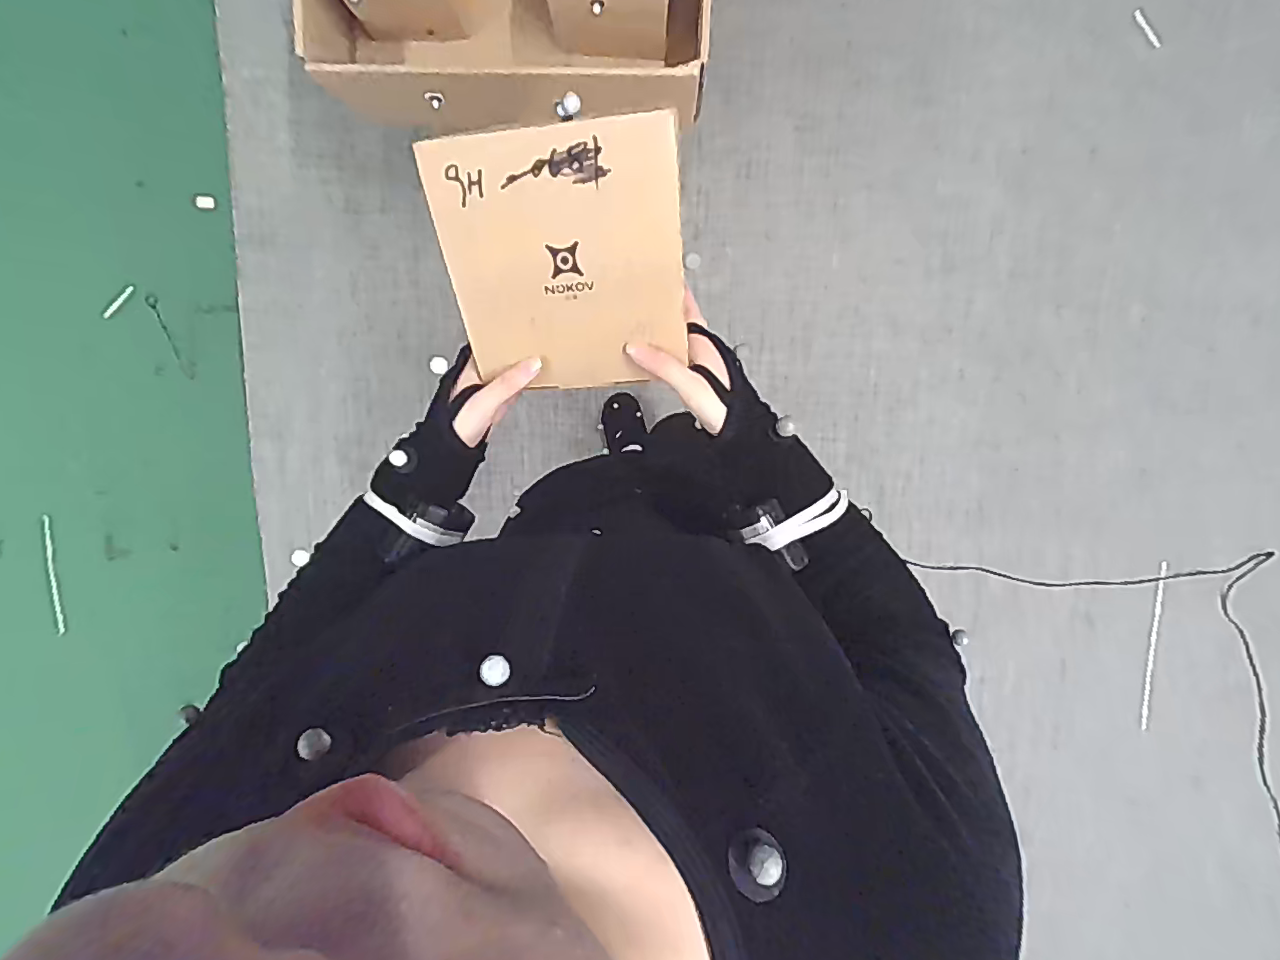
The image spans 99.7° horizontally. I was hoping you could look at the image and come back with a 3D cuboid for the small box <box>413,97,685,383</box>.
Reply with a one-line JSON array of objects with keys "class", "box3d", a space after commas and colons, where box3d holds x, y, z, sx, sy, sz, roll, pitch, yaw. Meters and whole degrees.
[{"class": "small box", "box3d": [-0.048, -0.197, 0.441, 0.168, 0.176, 0.179, -3, 126, 6]}]
